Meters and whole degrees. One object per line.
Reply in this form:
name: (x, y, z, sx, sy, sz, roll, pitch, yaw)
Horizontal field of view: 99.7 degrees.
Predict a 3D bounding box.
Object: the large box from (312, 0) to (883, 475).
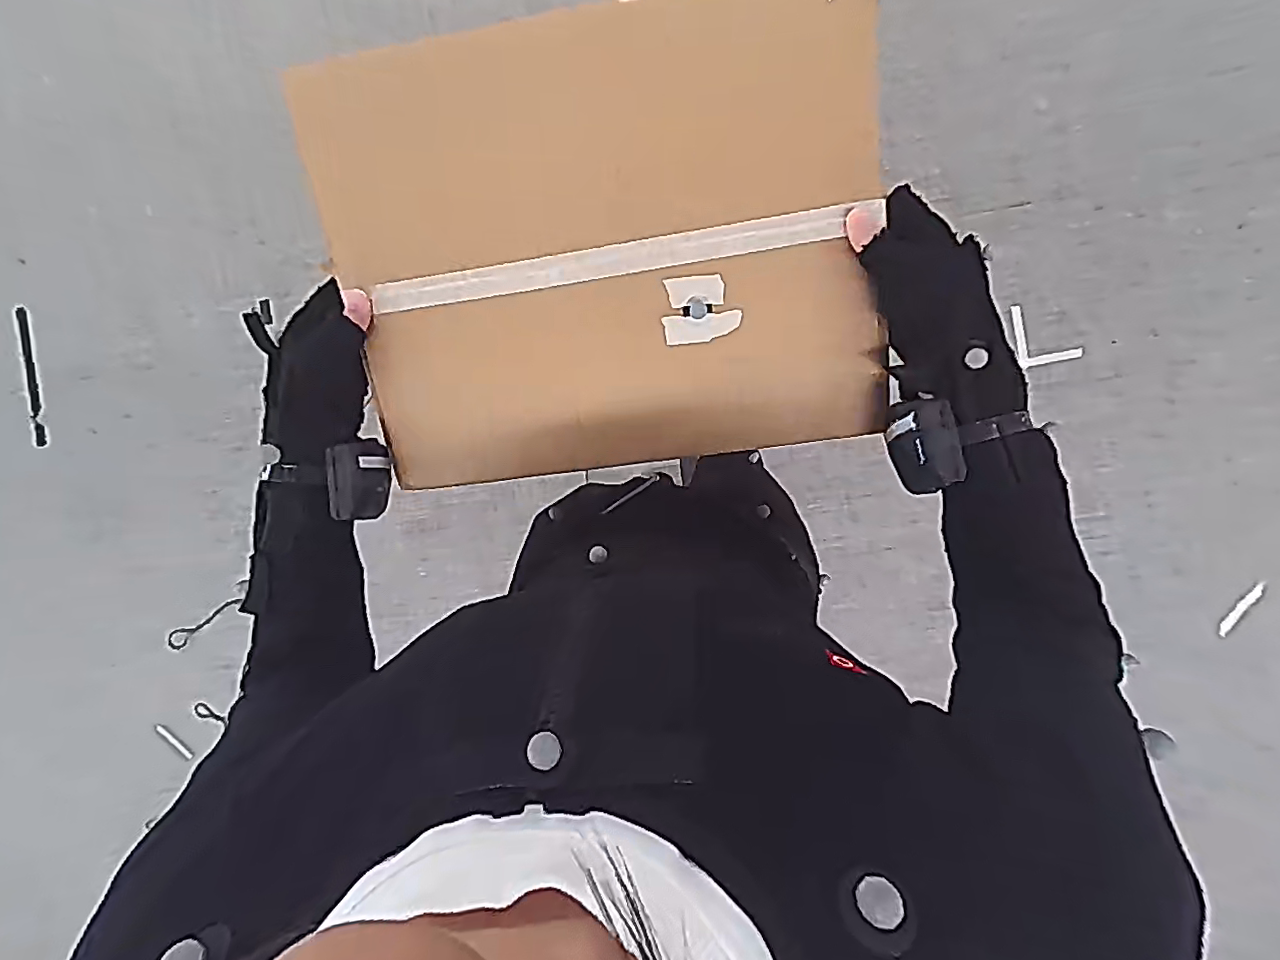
large box: (-0.017, -0.217, 0.557, 0.408, 0.320, 0.320, -8, 107, 5)
